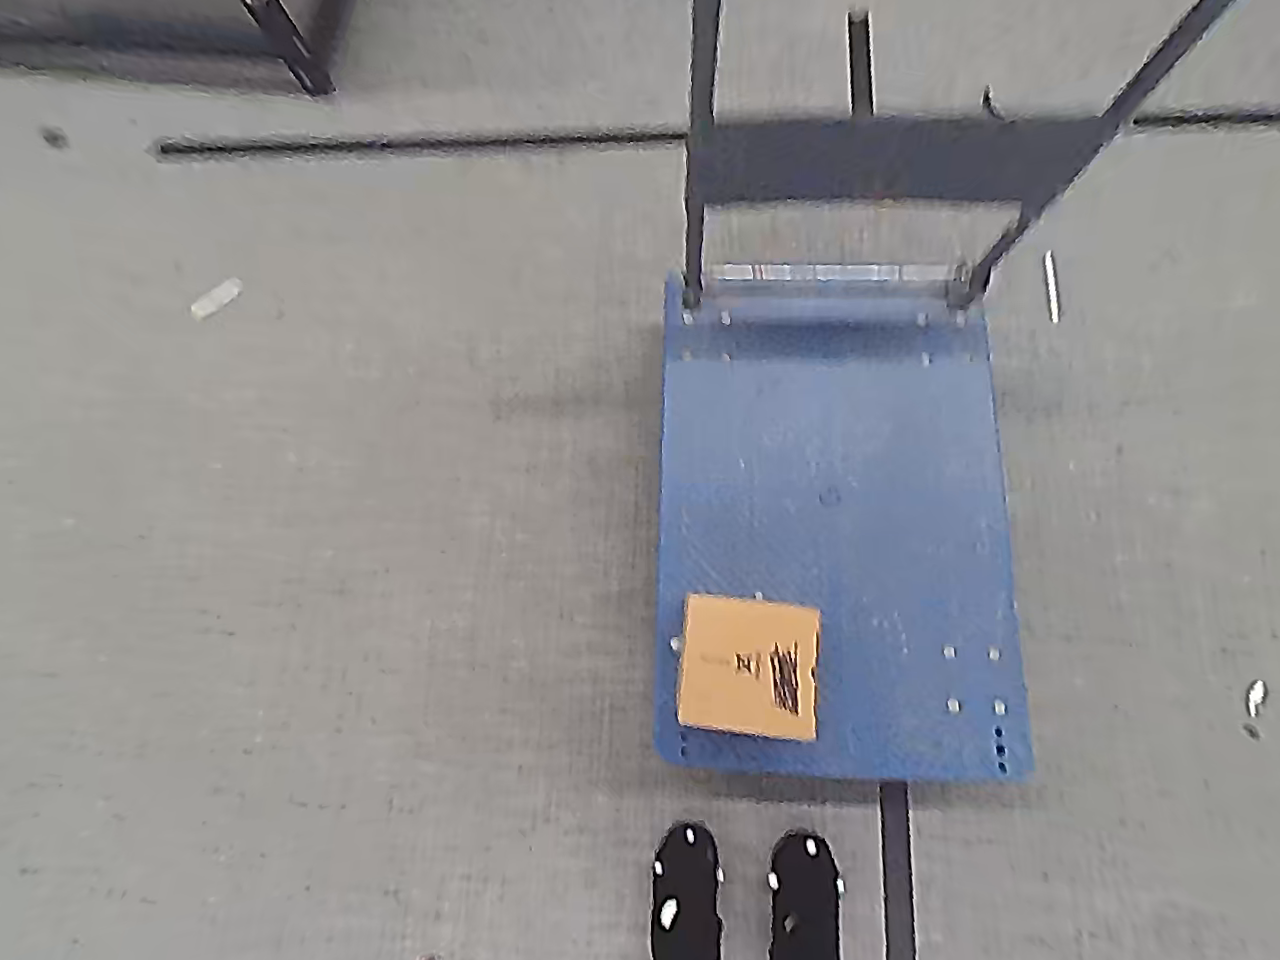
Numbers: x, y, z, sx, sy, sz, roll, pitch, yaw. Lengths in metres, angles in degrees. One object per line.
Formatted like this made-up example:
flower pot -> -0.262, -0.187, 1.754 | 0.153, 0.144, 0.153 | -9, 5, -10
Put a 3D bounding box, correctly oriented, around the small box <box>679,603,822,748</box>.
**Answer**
small box -> 0.152, 0.272, 0.787 | 0.179, 0.176, 0.168 | 5, 77, 5
